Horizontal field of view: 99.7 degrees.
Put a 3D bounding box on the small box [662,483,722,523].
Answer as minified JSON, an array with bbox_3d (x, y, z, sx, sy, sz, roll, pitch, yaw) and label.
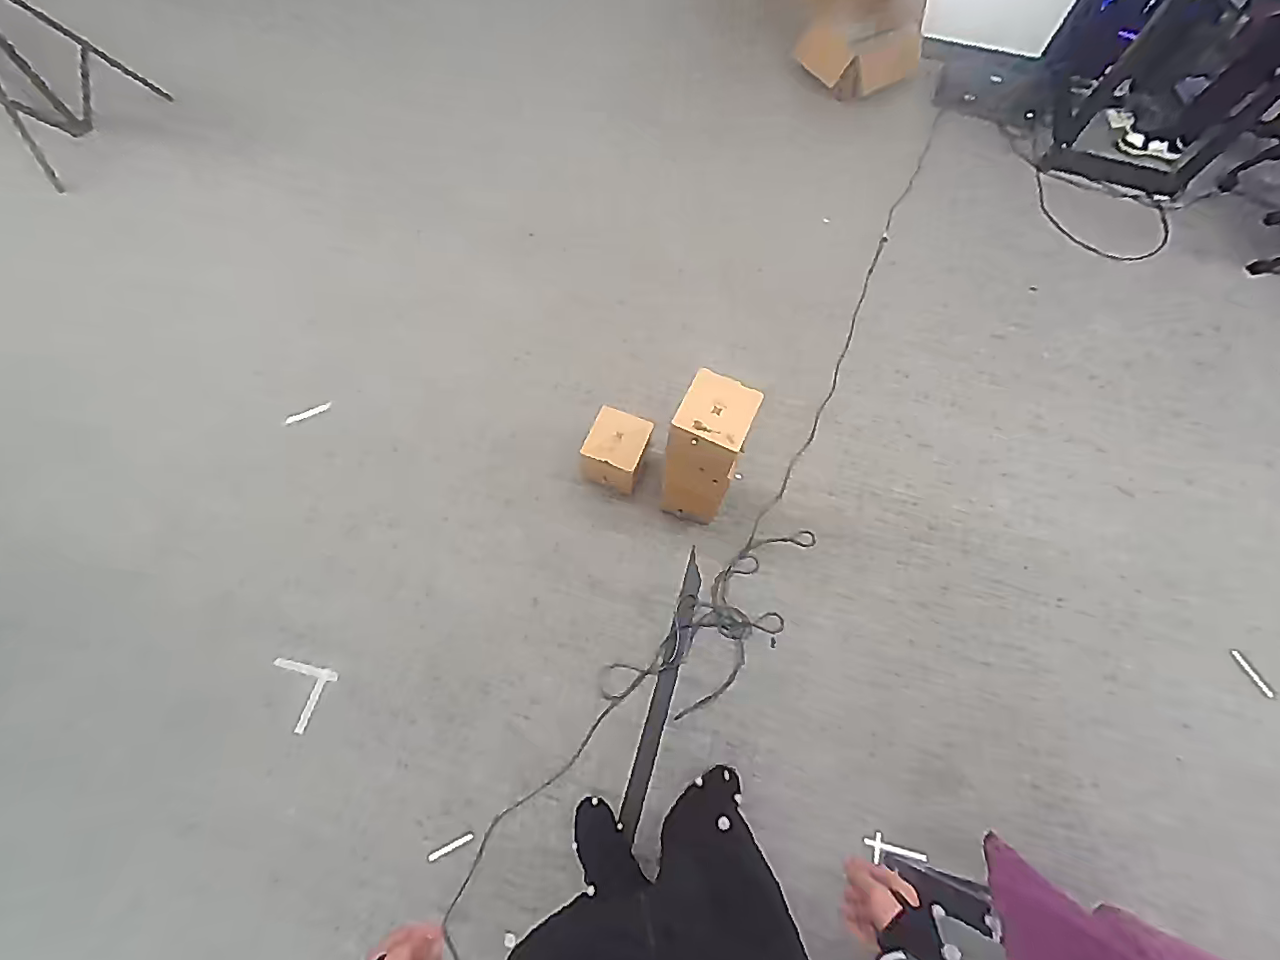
[{"bbox_3d":[0.166,0.002,1.602,0.168,0.176,0.179,17,67,5],"label":"small box"}]

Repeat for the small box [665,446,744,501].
[{"bbox_3d":[0.174,-0.062,1.453,0.179,0.176,0.168,18,66,5],"label":"small box"}]

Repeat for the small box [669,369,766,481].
[{"bbox_3d":[0.179,-0.128,1.303,0.168,0.176,0.179,25,66,8],"label":"small box"}]

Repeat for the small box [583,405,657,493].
[{"bbox_3d":[-0.062,-0.089,1.627,0.168,0.176,0.179,21,67,7],"label":"small box"}]
